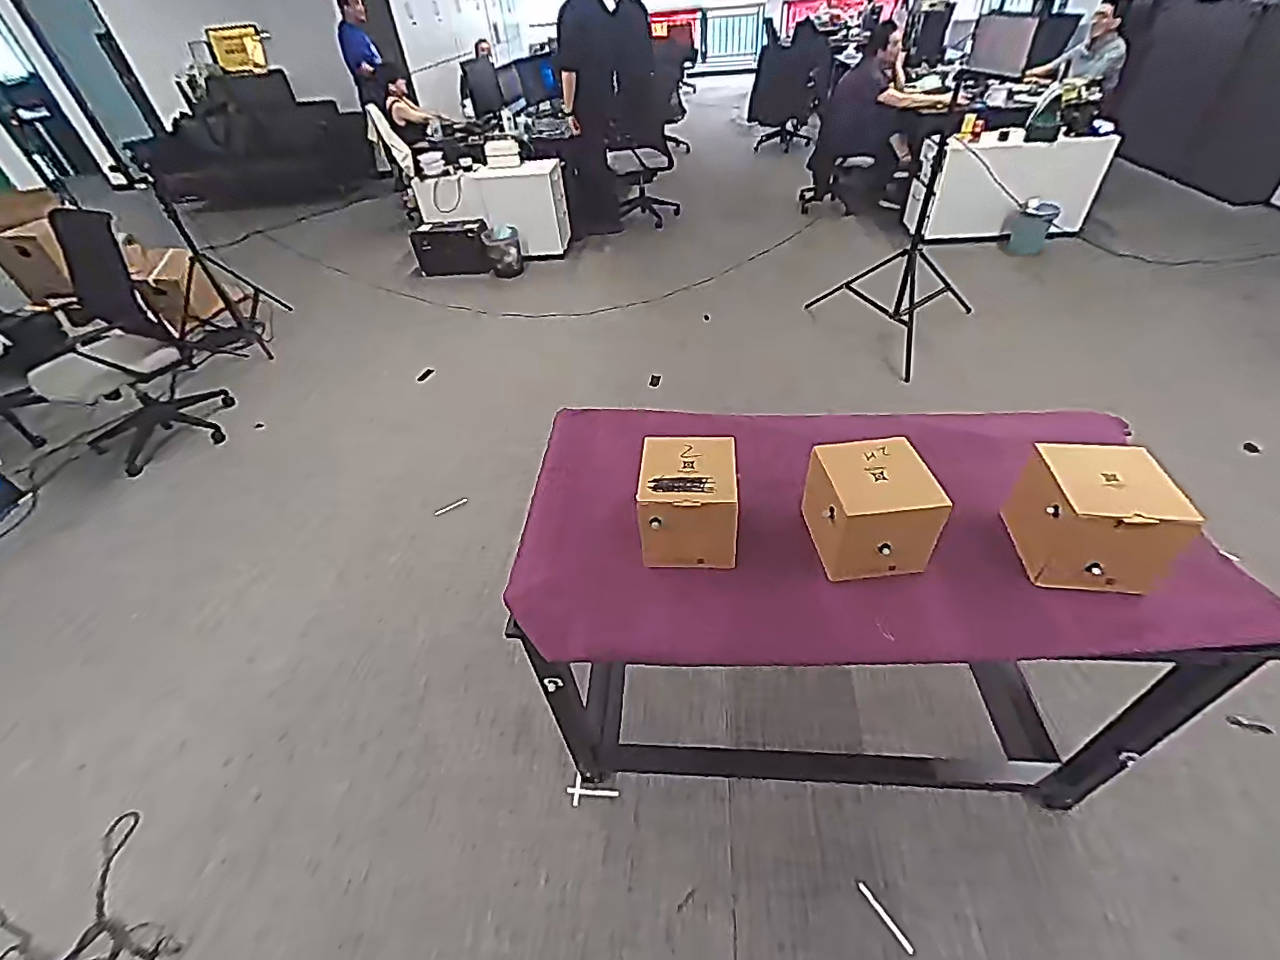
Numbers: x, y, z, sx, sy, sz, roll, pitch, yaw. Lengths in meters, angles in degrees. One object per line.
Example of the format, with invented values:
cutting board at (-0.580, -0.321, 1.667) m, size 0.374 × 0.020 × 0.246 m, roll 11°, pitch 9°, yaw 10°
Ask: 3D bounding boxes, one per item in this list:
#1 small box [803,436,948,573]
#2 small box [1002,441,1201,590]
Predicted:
small box at (0.396, 0.048, 0.943) m, size 0.168 × 0.176 × 0.179 m, roll -6°, pitch 42°, yaw 0°
small box at (0.737, 0.056, 0.894) m, size 0.168 × 0.176 × 0.179 m, roll 2°, pitch 42°, yaw 10°
